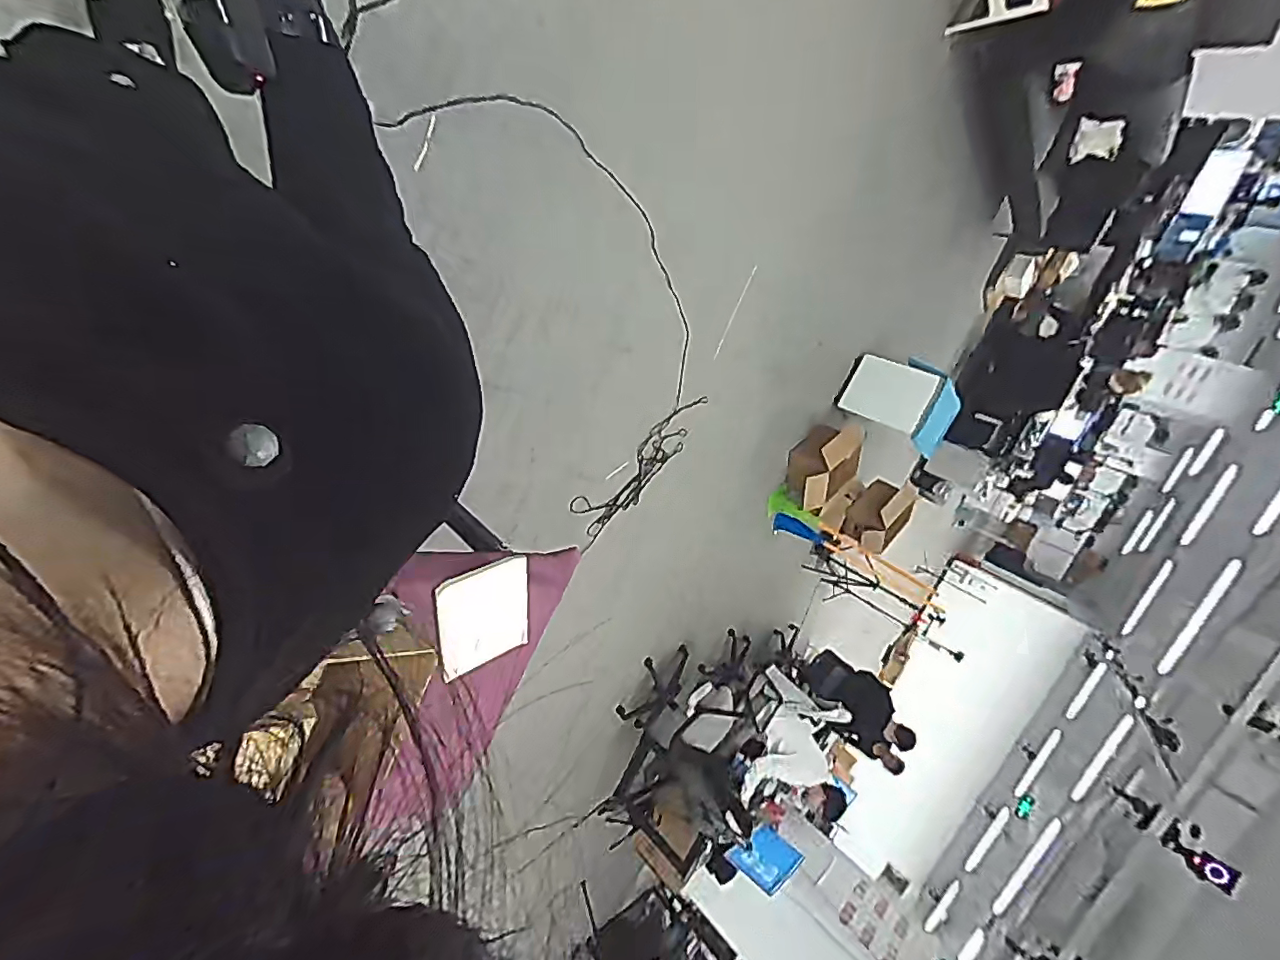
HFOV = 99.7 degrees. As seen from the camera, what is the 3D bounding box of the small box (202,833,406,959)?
[{"bbox_3d":[-0.462,0.628,0.740,0.168,0.176,0.179,18,100,-53],"label":"small box"}]
